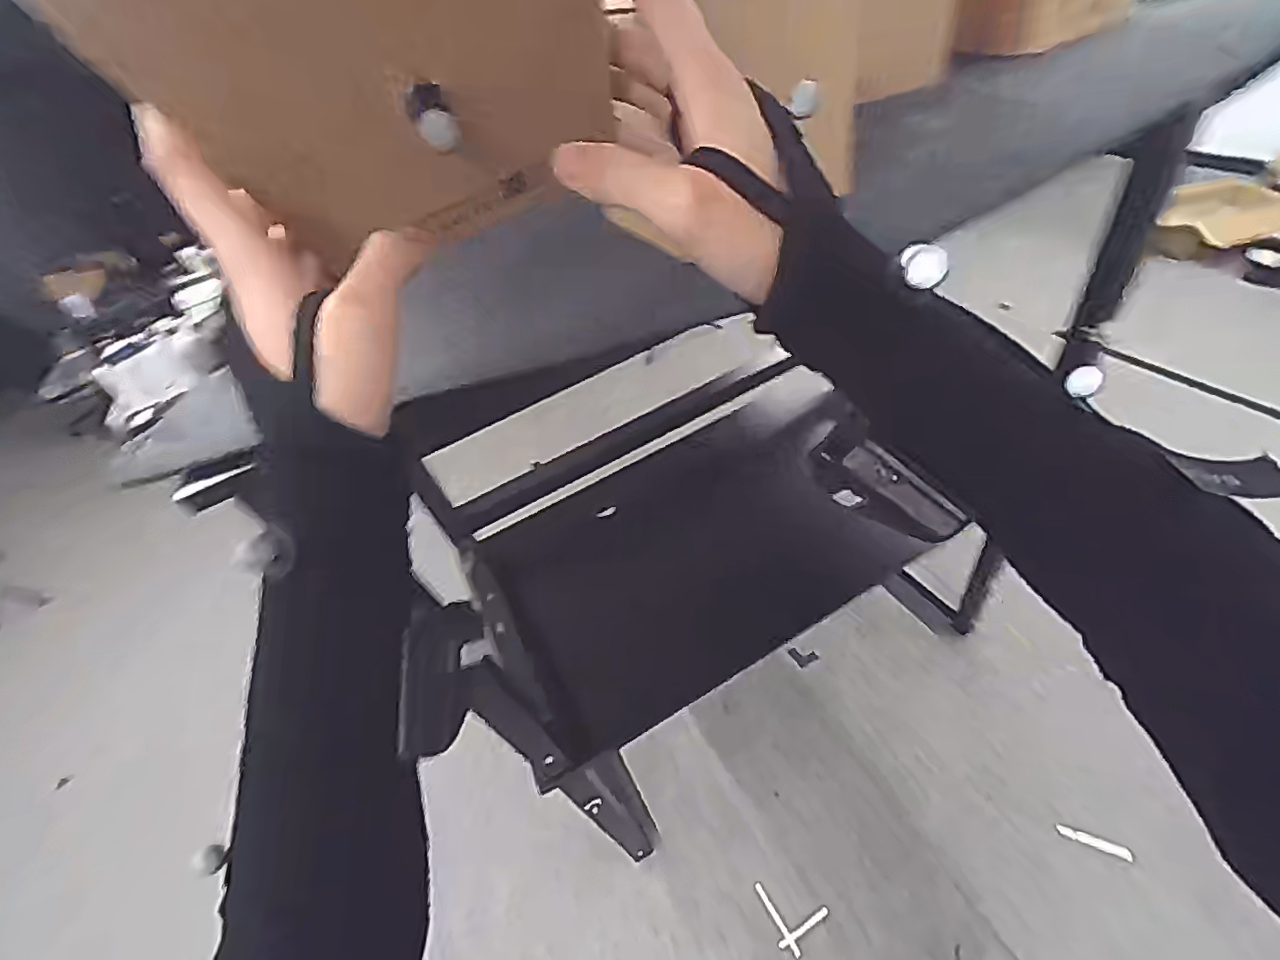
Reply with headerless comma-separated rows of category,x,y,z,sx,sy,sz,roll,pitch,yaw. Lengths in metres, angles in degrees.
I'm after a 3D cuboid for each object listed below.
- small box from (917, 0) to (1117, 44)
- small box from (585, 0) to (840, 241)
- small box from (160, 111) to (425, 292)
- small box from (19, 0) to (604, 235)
small box,0.475,-0.663,0.665,0.168,0.176,0.179,-25,45,-7
small box,0.045,-0.325,0.457,0.168,0.176,0.179,-28,44,-9
small box,-0.369,-0.329,0.590,0.168,0.176,0.179,-36,48,-17
small box,-0.125,-0.229,0.212,0.168,0.176,0.179,-27,83,-2
